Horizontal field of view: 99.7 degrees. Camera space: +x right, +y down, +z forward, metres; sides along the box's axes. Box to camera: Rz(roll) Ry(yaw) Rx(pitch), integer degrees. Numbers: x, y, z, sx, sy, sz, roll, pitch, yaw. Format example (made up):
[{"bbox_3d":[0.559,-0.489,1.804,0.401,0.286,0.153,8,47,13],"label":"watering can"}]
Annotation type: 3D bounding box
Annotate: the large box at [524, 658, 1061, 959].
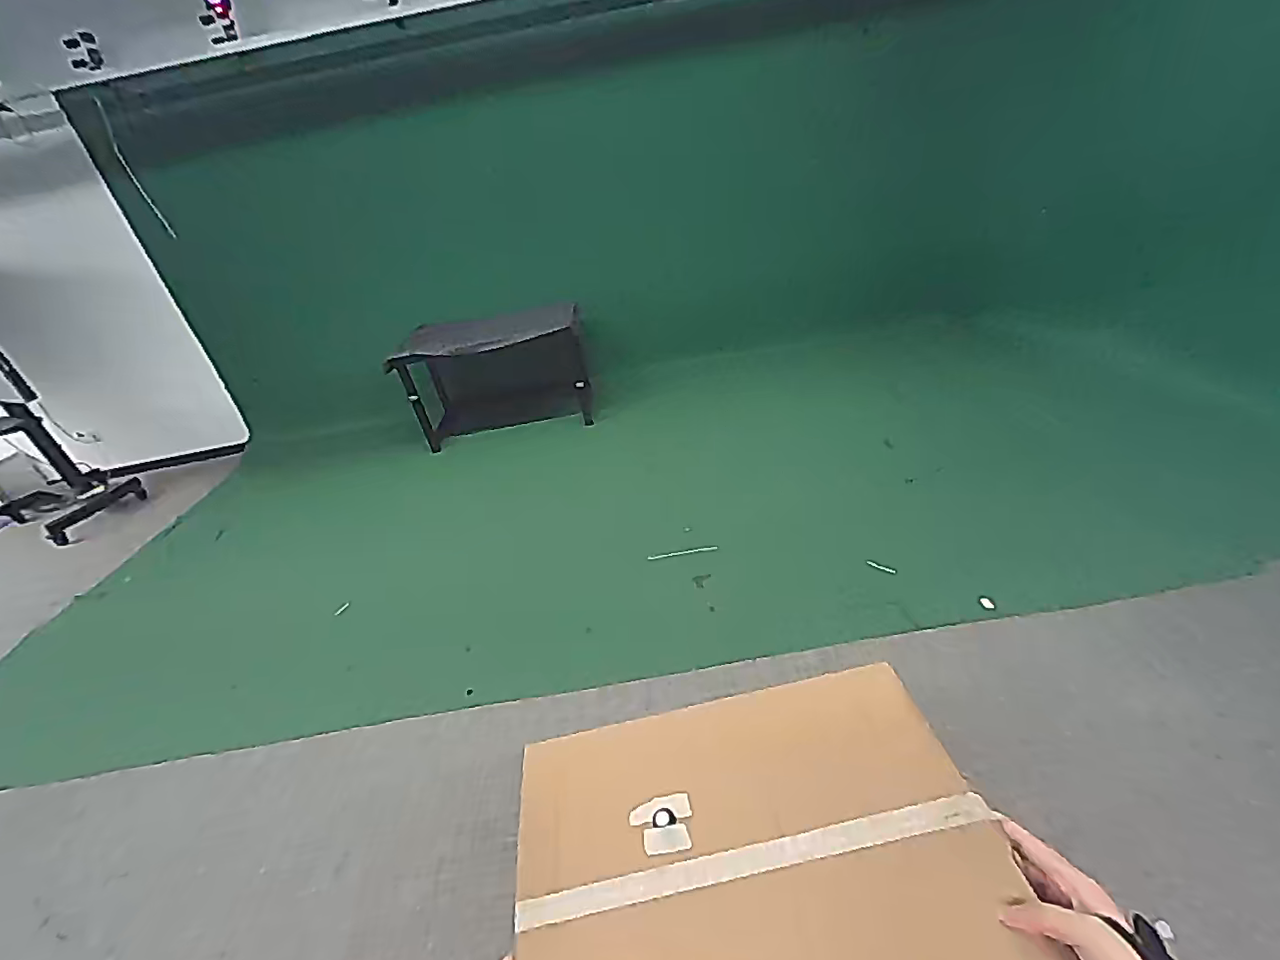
[{"bbox_3d":[0.124,0.447,0.556,0.408,0.320,0.320,-15,34,1],"label":"large box"}]
